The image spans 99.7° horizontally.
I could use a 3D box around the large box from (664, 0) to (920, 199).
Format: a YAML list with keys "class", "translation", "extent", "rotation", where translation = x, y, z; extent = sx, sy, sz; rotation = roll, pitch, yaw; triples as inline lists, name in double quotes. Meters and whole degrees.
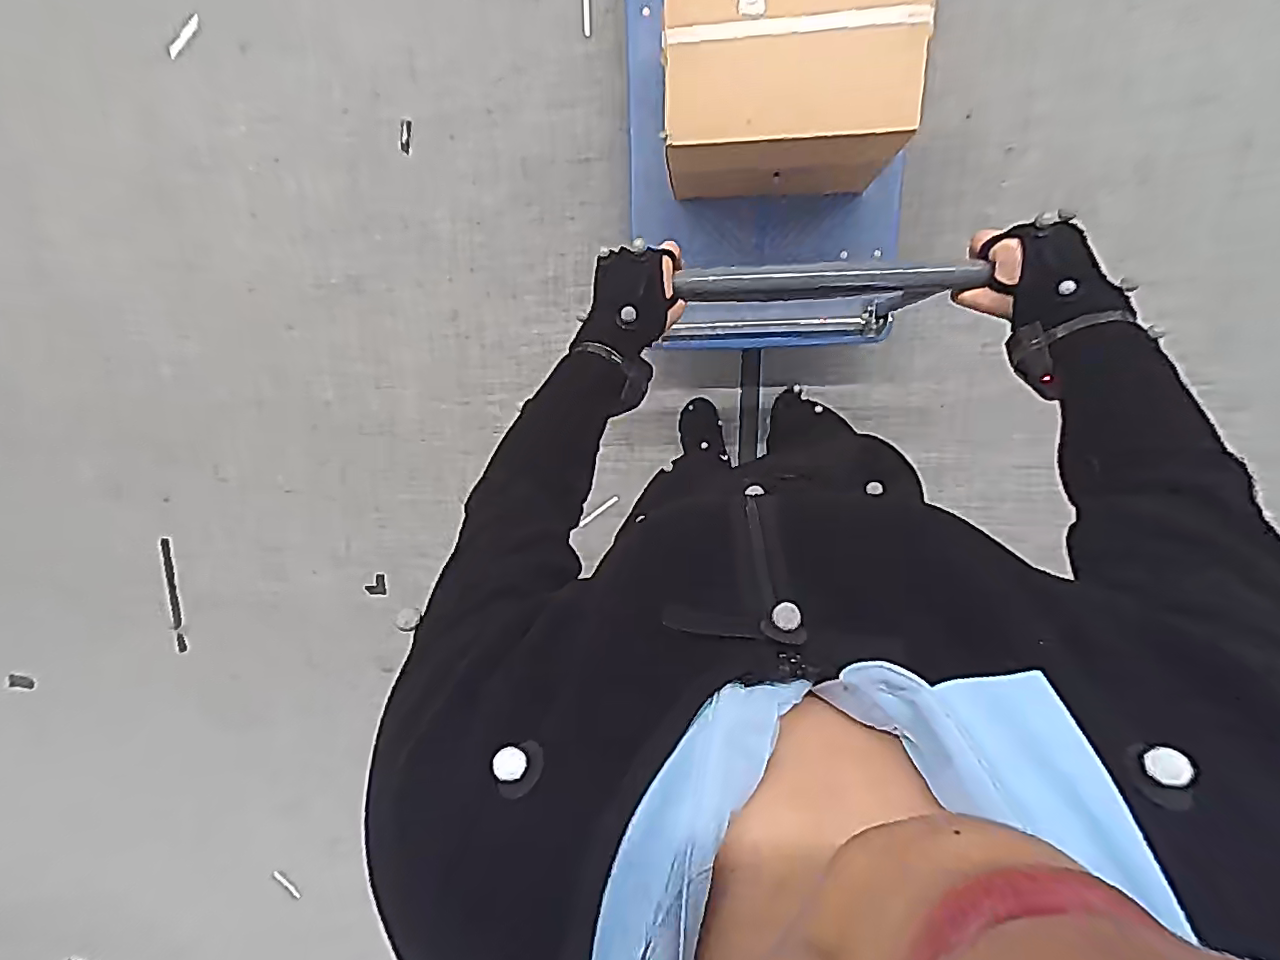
- class: "large box"
  translation: [0.259, -0.747, 1.013]
  extent: [0.408, 0.320, 0.320]
  rotation: [0, 101, 8]
